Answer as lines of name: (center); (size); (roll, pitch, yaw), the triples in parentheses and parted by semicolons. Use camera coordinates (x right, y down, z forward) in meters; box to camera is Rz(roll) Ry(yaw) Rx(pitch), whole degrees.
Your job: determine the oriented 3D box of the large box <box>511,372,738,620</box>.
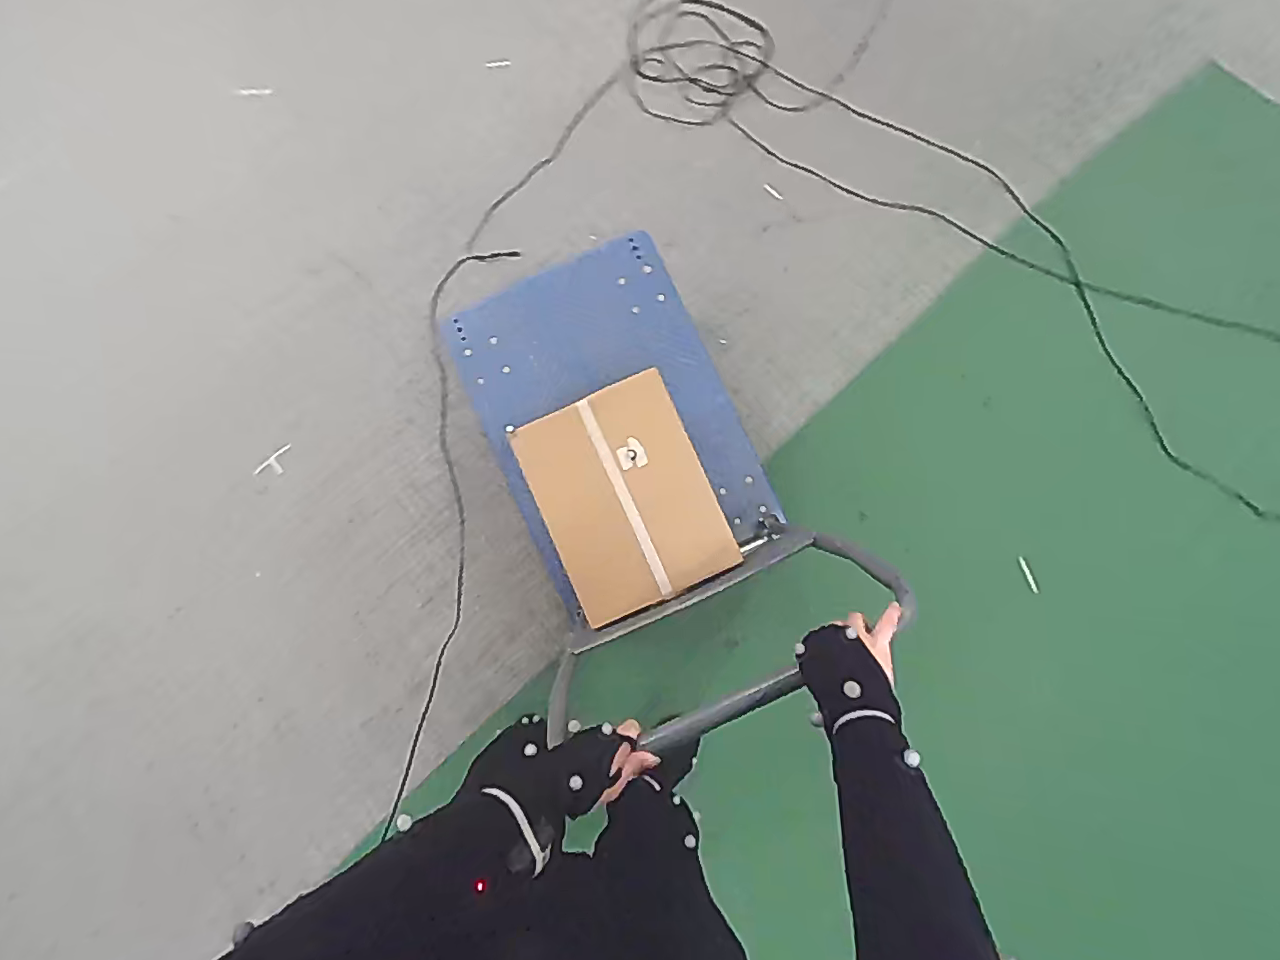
large box: (-0.026, 0.039, 1.187); (0.320, 0.320, 0.408); (-24, 86, -1)
